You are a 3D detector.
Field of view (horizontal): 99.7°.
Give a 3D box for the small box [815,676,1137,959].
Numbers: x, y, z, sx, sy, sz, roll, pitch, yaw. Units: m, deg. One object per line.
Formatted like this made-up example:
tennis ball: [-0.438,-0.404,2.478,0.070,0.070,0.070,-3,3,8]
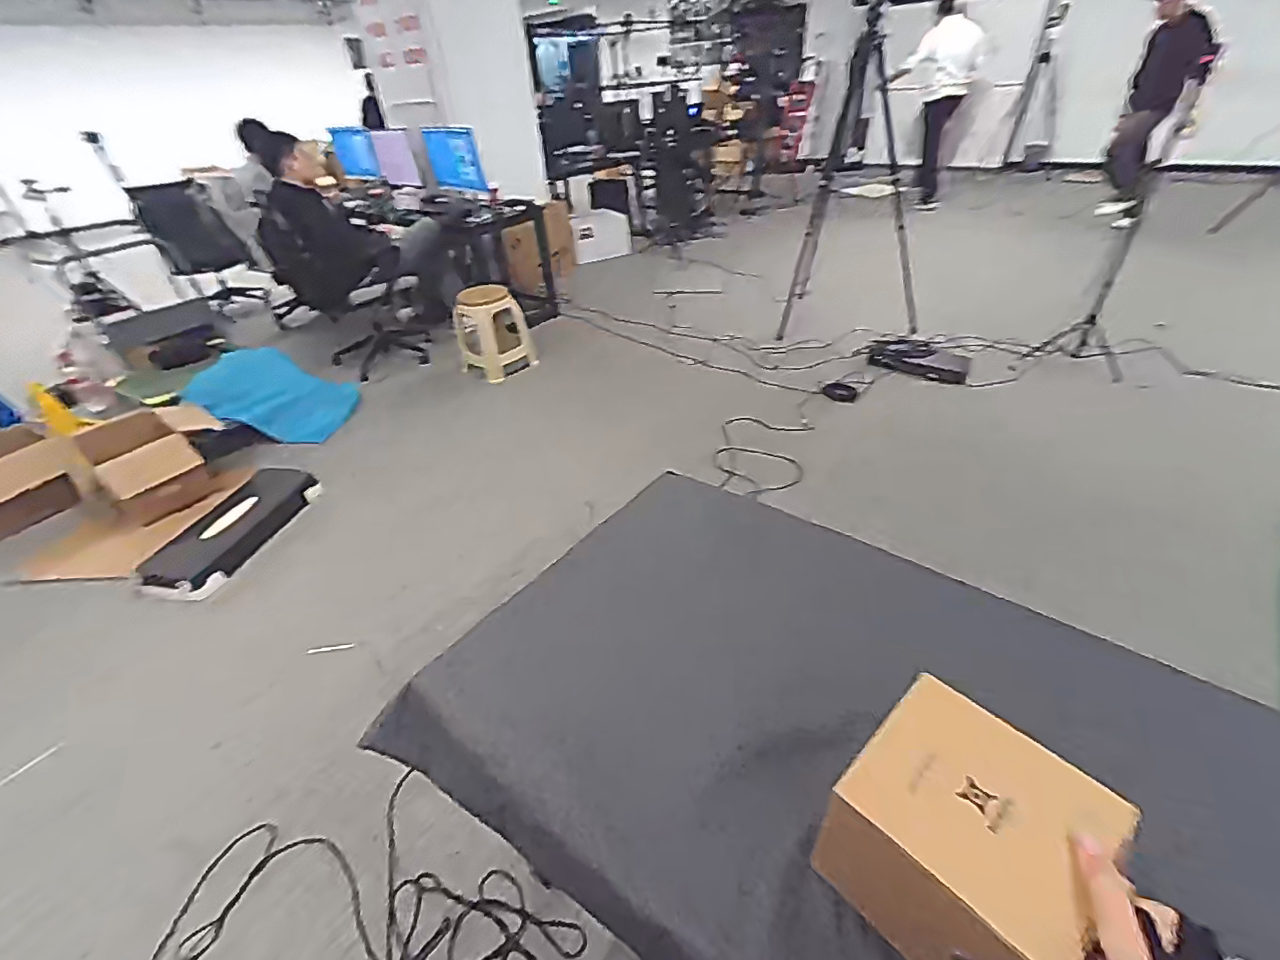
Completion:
small box: [0.285,0.327,0.491,0.168,0.176,0.179,-30,43,-31]
